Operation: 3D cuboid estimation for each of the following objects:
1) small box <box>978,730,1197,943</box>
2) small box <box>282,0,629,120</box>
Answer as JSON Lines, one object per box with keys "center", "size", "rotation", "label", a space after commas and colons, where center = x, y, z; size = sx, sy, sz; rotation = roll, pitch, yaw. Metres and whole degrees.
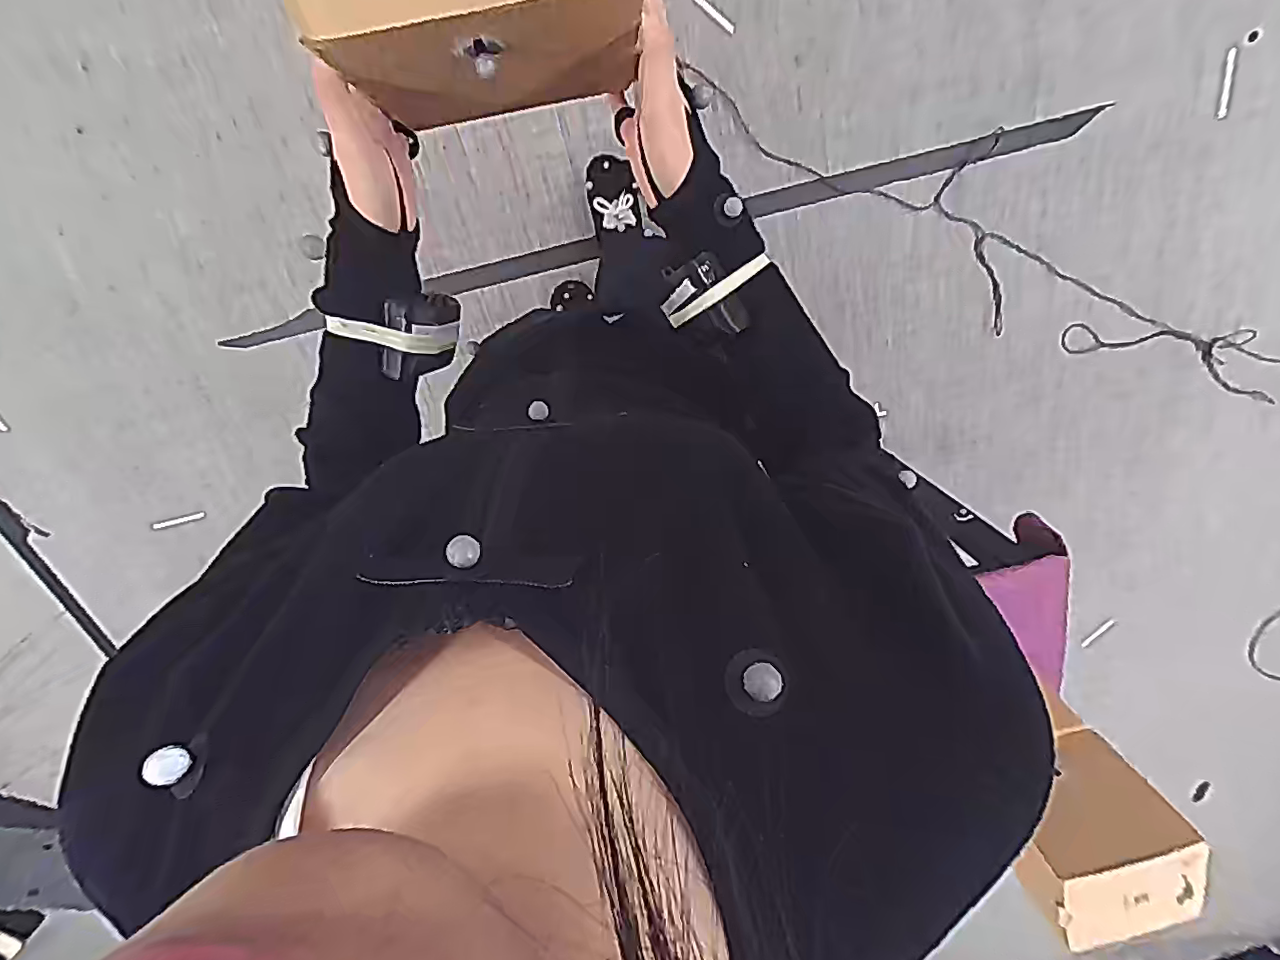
{"center": [0.601, 0.487, 0.753], "size": [0.179, 0.176, 0.168], "rotation": [-19, 114, 5], "label": "small box"}
{"center": [-0.102, -0.332, 0.309], "size": [0.179, 0.176, 0.168], "rotation": [-12, 111, -1], "label": "small box"}
